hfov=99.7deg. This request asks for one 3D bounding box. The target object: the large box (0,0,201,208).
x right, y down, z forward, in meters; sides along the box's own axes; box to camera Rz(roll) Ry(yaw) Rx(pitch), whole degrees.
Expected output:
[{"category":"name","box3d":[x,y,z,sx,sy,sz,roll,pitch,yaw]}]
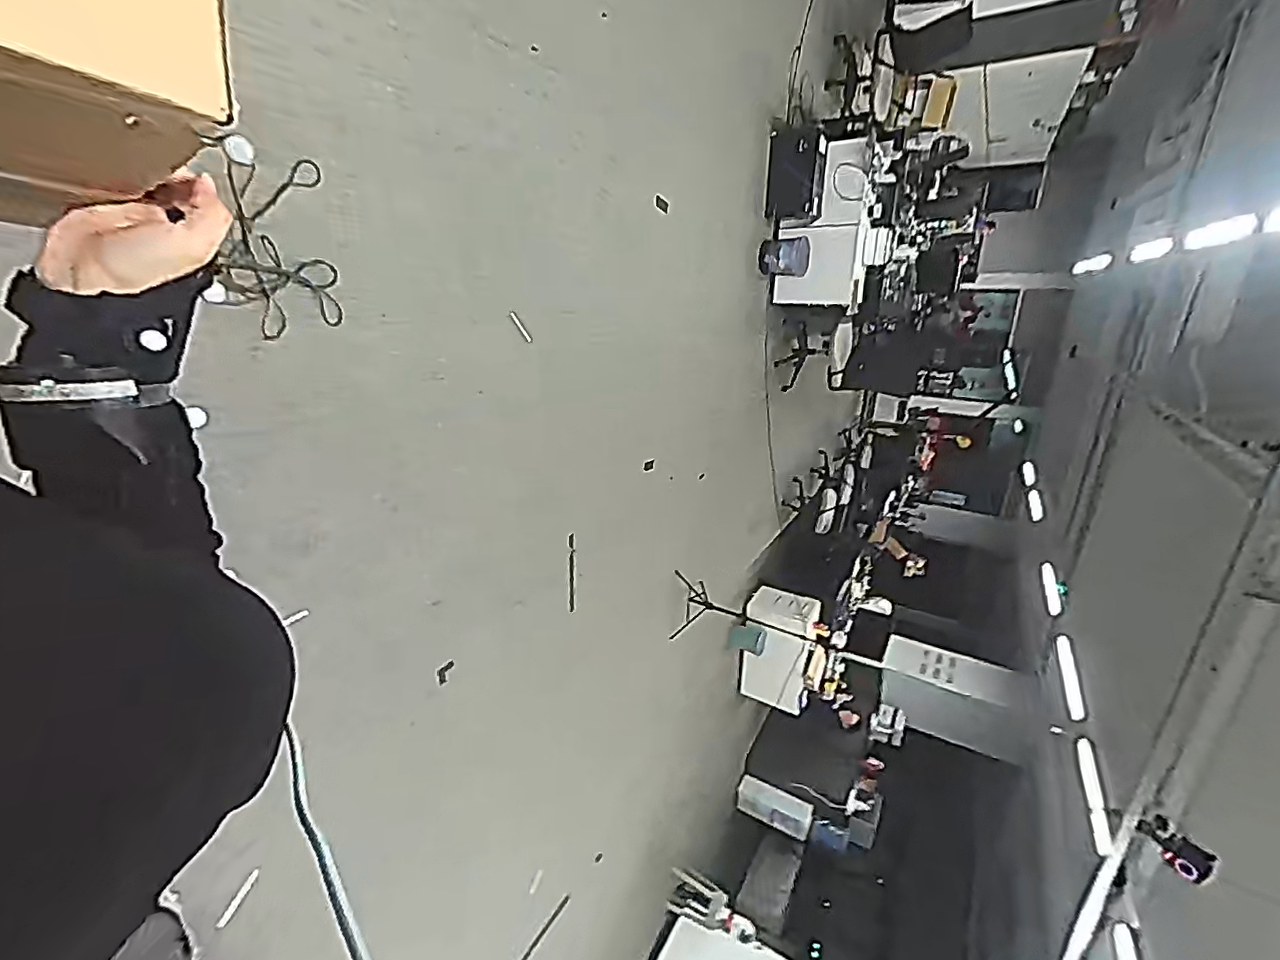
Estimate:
[{"category":"large box","box3d":[-0.425,-0.303,0.133,0.408,0.320,0.320,-15,110,-52]}]
